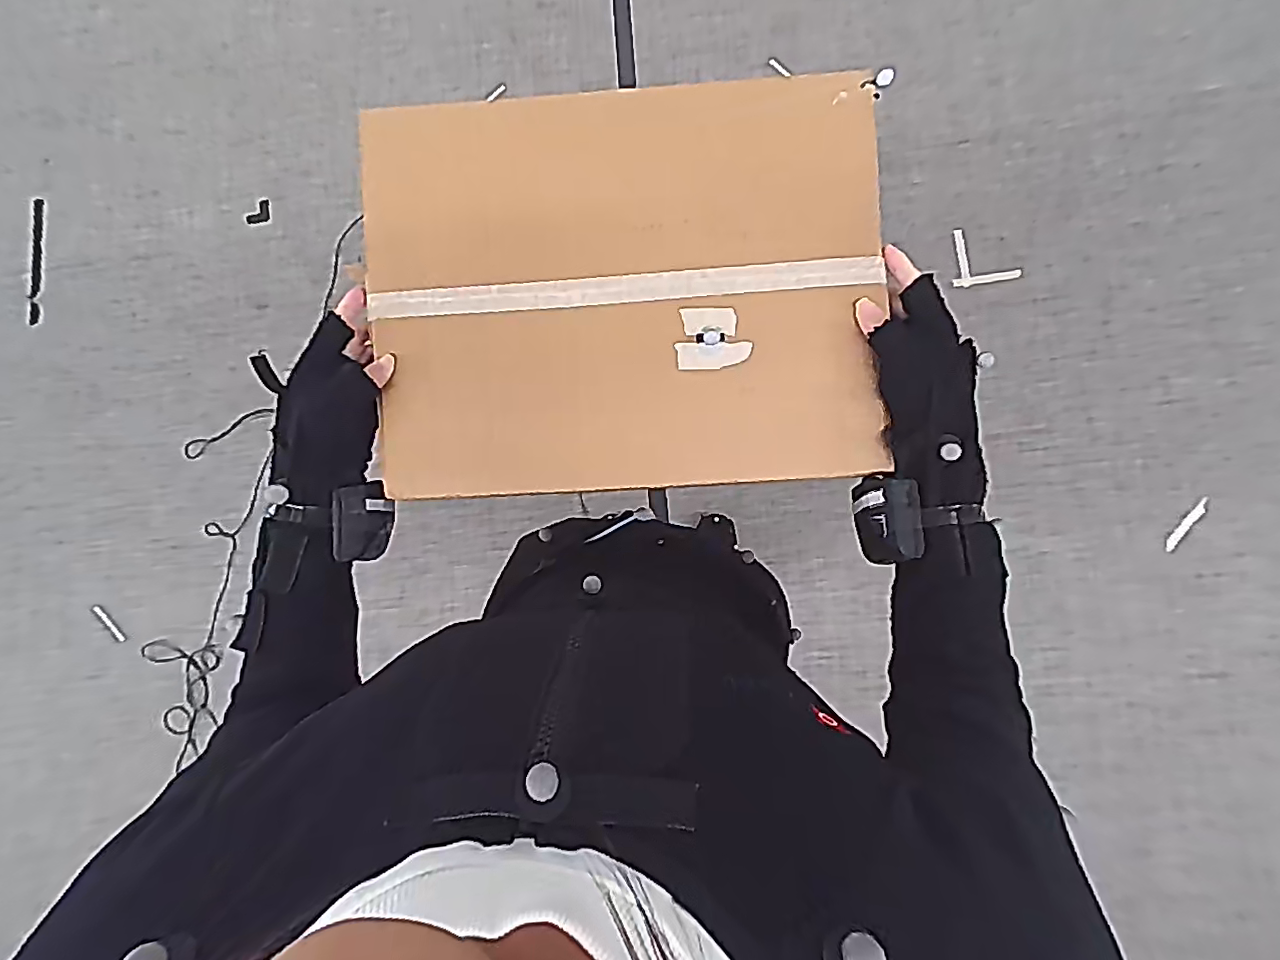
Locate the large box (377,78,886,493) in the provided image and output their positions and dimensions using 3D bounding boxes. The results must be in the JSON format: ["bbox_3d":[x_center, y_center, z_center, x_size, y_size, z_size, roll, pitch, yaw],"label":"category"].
[{"bbox_3d":[-0.007,-0.158,0.588,0.408,0.320,0.320,-3,91,1],"label":"large box"}]
